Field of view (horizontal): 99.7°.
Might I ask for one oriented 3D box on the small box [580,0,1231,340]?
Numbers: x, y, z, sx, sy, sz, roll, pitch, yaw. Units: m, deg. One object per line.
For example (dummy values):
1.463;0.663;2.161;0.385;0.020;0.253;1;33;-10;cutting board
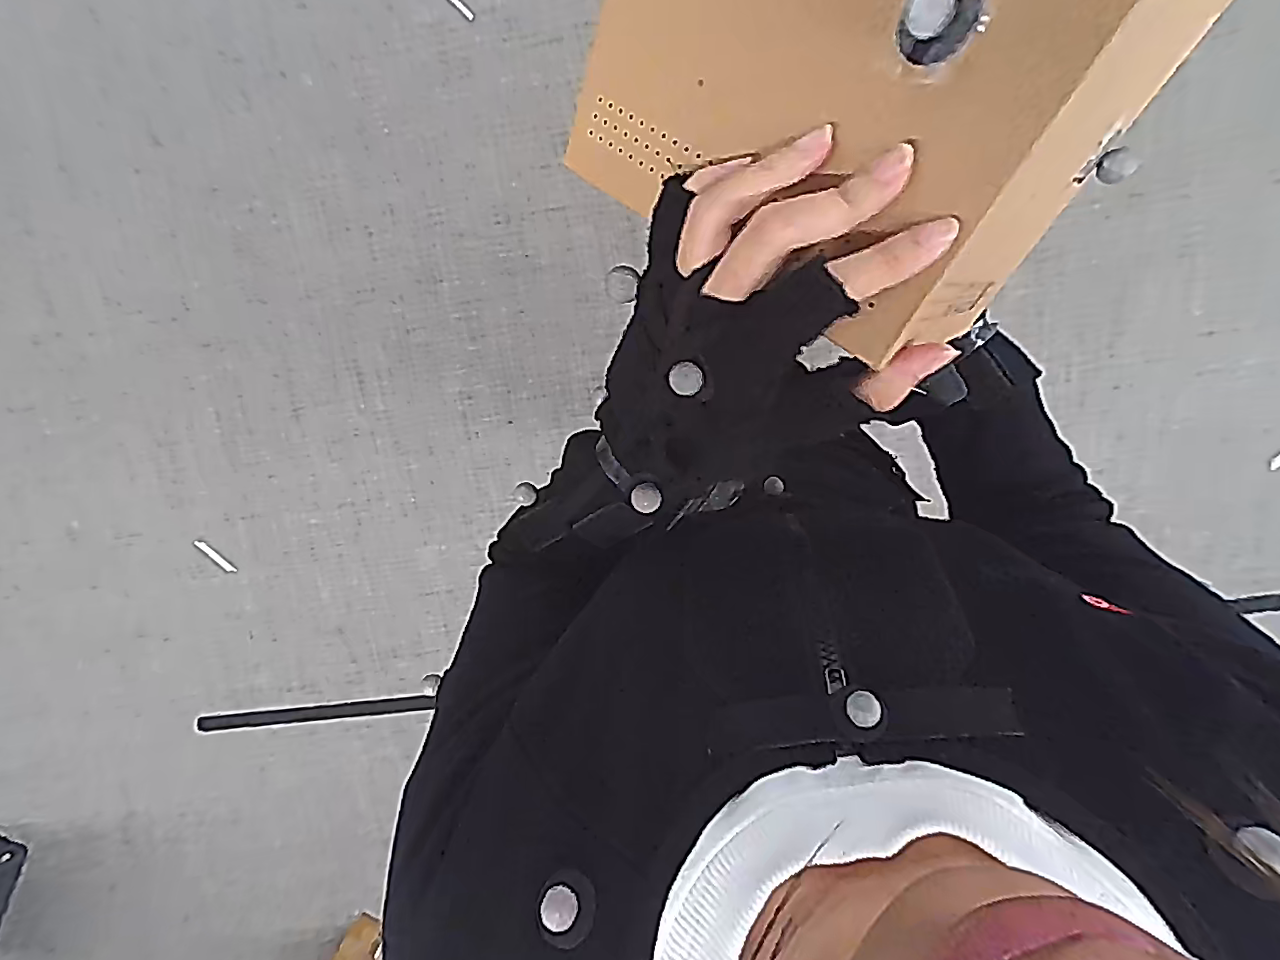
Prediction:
0.104;-0.174;0.237;0.179;0.168;0.176;42;128;21;small box
